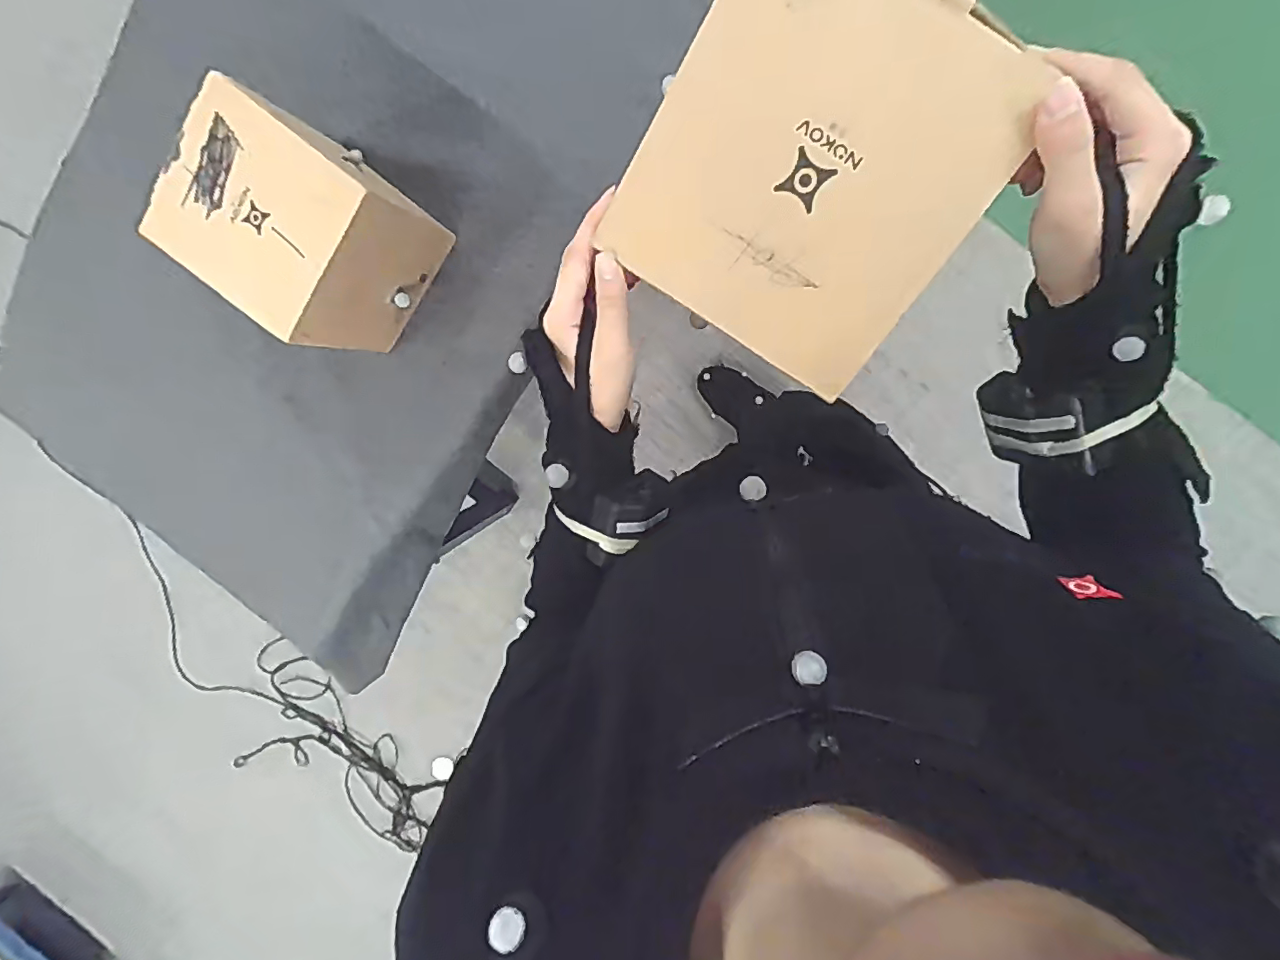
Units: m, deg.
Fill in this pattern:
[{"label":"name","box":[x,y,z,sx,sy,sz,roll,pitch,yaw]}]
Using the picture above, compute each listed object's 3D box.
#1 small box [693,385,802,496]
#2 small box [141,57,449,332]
[{"label":"small box","box":[0.249,-0.100,1.311,0.179,0.176,0.168,-46,118,8]},{"label":"small box","box":[-0.342,-0.271,0.567,0.179,0.176,0.168,38,104,-1]}]
